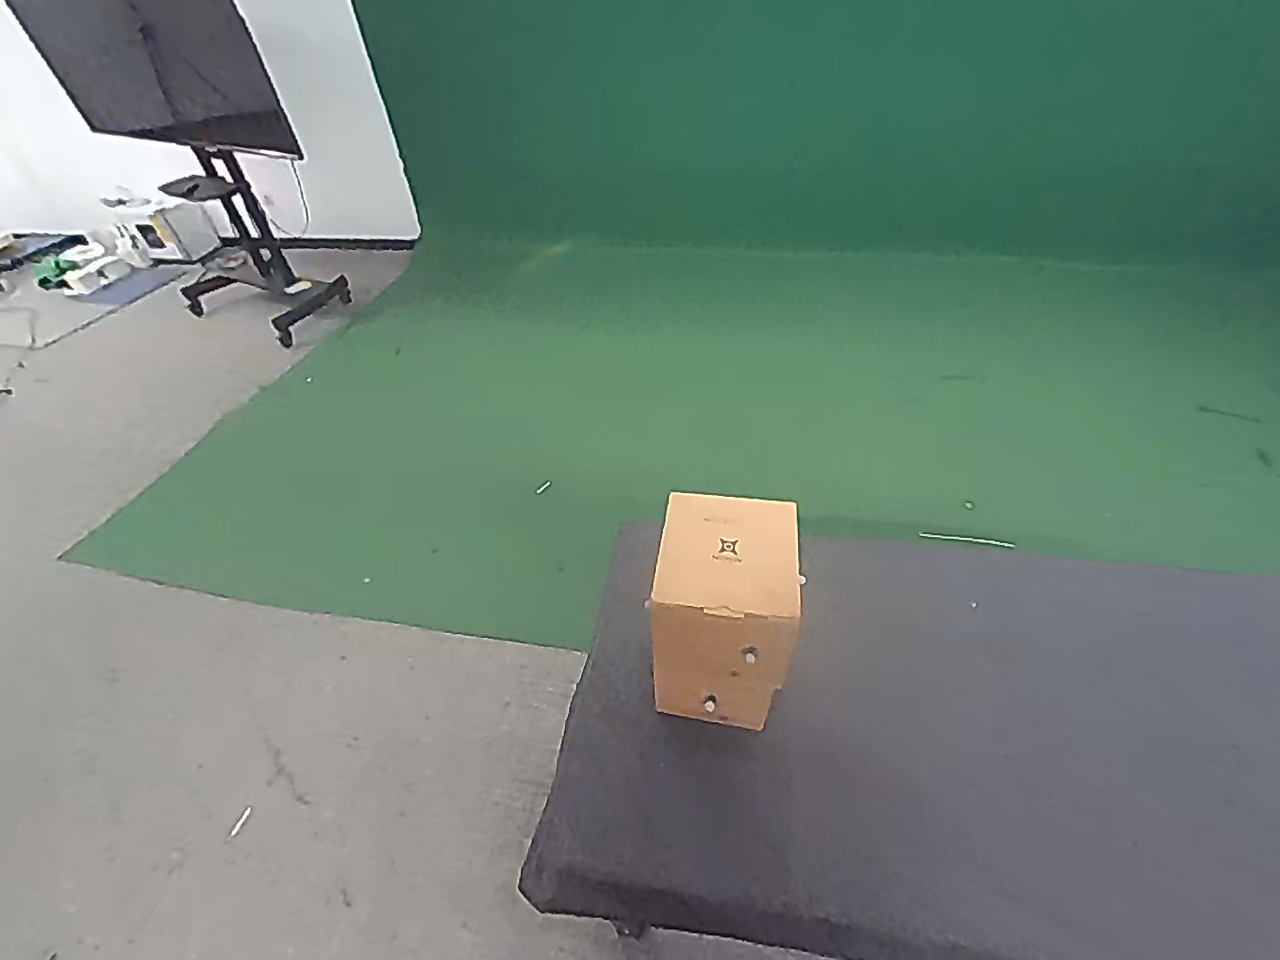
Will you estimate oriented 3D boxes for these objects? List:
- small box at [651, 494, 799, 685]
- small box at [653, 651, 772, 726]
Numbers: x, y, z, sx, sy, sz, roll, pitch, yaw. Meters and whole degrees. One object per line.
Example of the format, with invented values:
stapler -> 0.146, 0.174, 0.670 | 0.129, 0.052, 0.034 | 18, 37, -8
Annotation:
small box -> 0.109, 0.143, 0.704 | 0.168, 0.176, 0.179 | 6, 44, 8
small box -> 0.118, 0.250, 0.827 | 0.168, 0.176, 0.179 | 7, 45, 10
